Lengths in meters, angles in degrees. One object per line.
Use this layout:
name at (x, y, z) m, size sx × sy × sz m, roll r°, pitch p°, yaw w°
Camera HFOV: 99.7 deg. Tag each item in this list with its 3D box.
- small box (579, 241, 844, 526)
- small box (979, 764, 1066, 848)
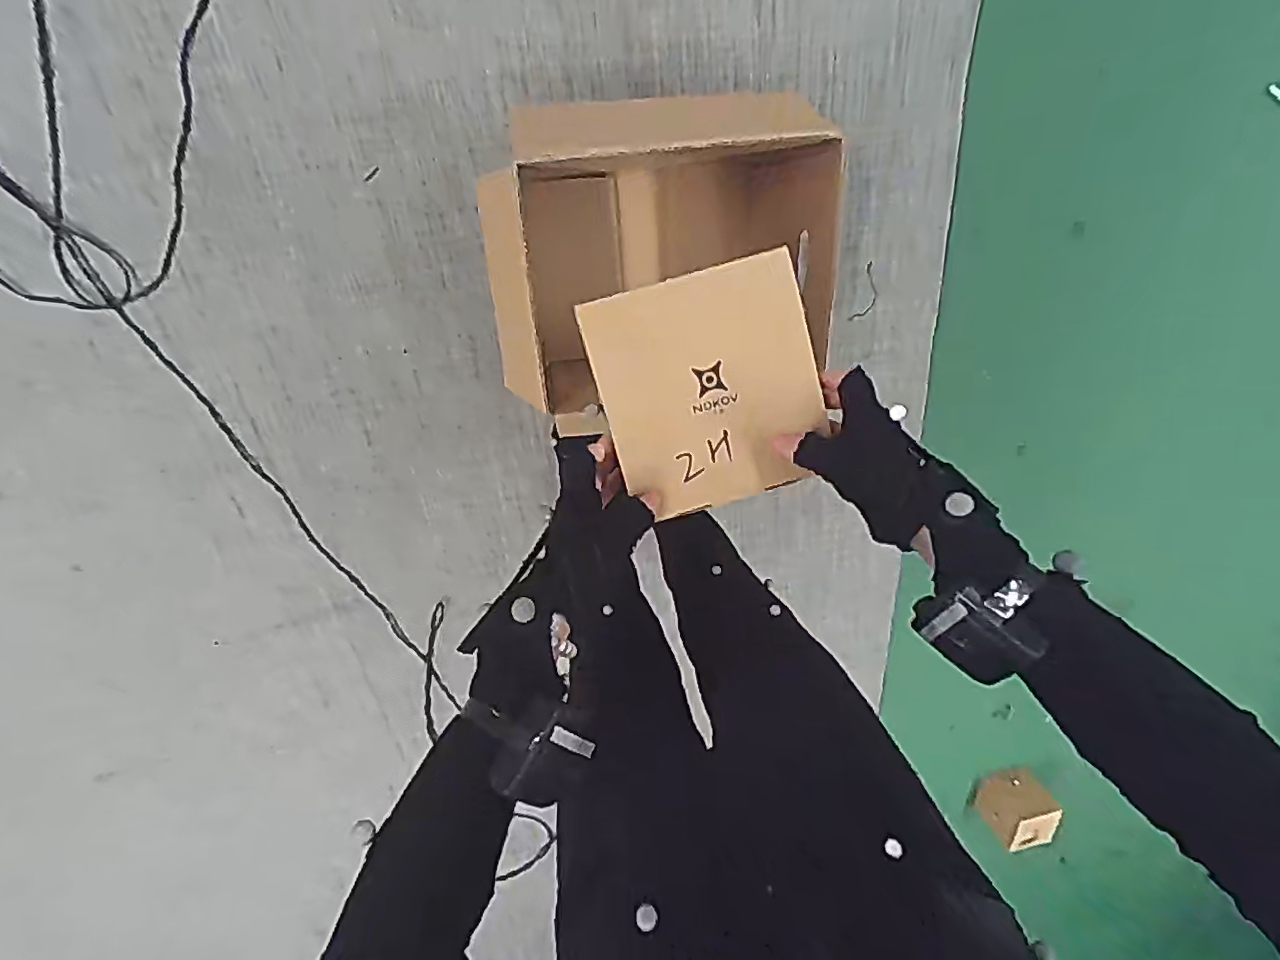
small box at (0.050, -0.079, 0.475) m, size 0.168 × 0.176 × 0.179 m, roll -16°, pitch 100°, yaw 0°
small box at (1.325, 1.135, 1.889) m, size 0.168 × 0.176 × 0.179 m, roll -9°, pitch 117°, yaw -8°
